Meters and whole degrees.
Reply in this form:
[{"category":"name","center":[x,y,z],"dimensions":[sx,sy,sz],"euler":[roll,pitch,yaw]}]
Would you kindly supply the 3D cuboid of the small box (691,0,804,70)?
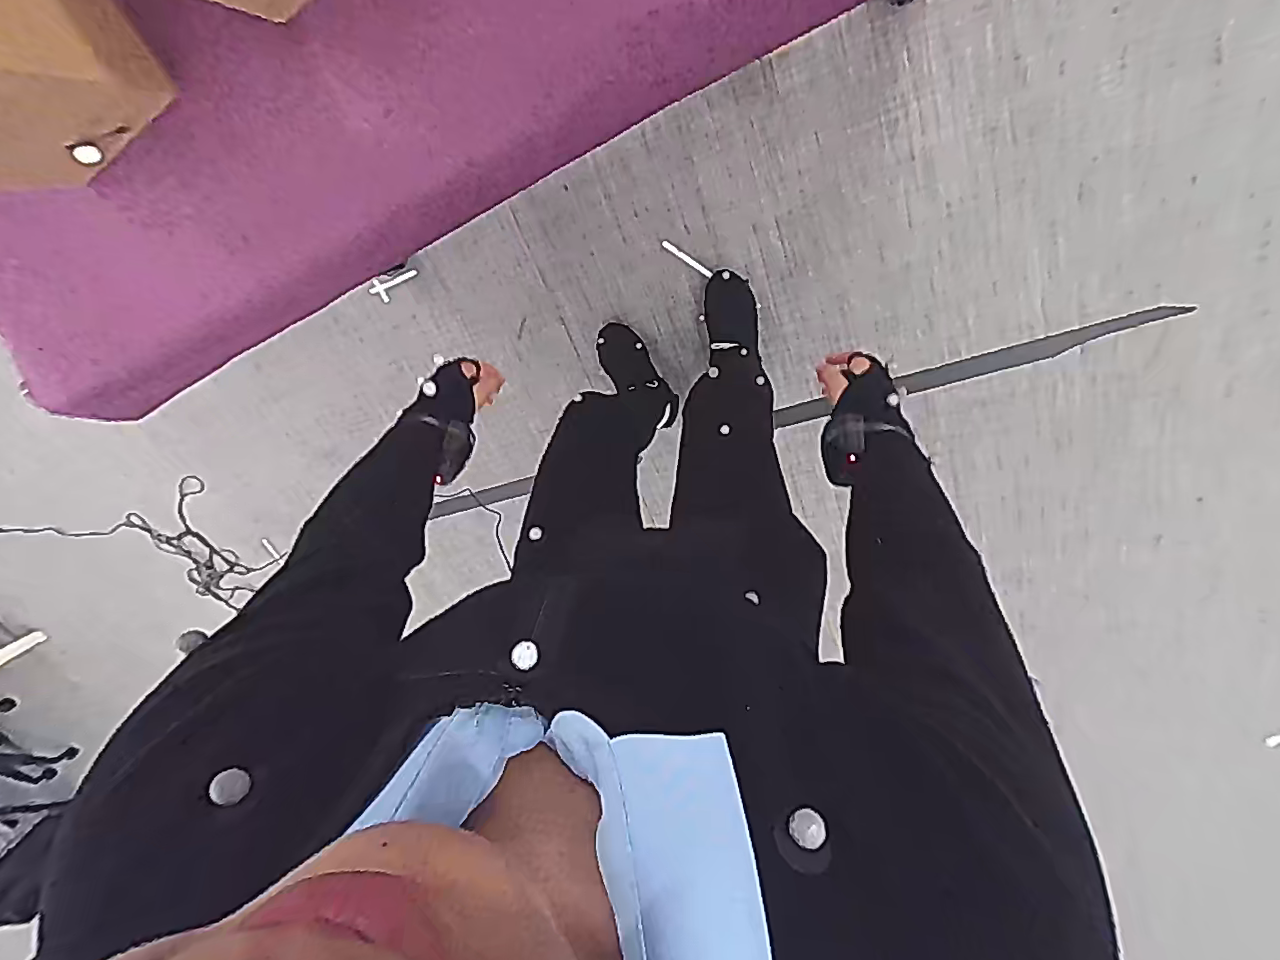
[{"category":"small box","center":[0.167,-0.791,0.872],"dimensions":[0.168,0.176,0.179],"euler":[-8,118,14]}]
